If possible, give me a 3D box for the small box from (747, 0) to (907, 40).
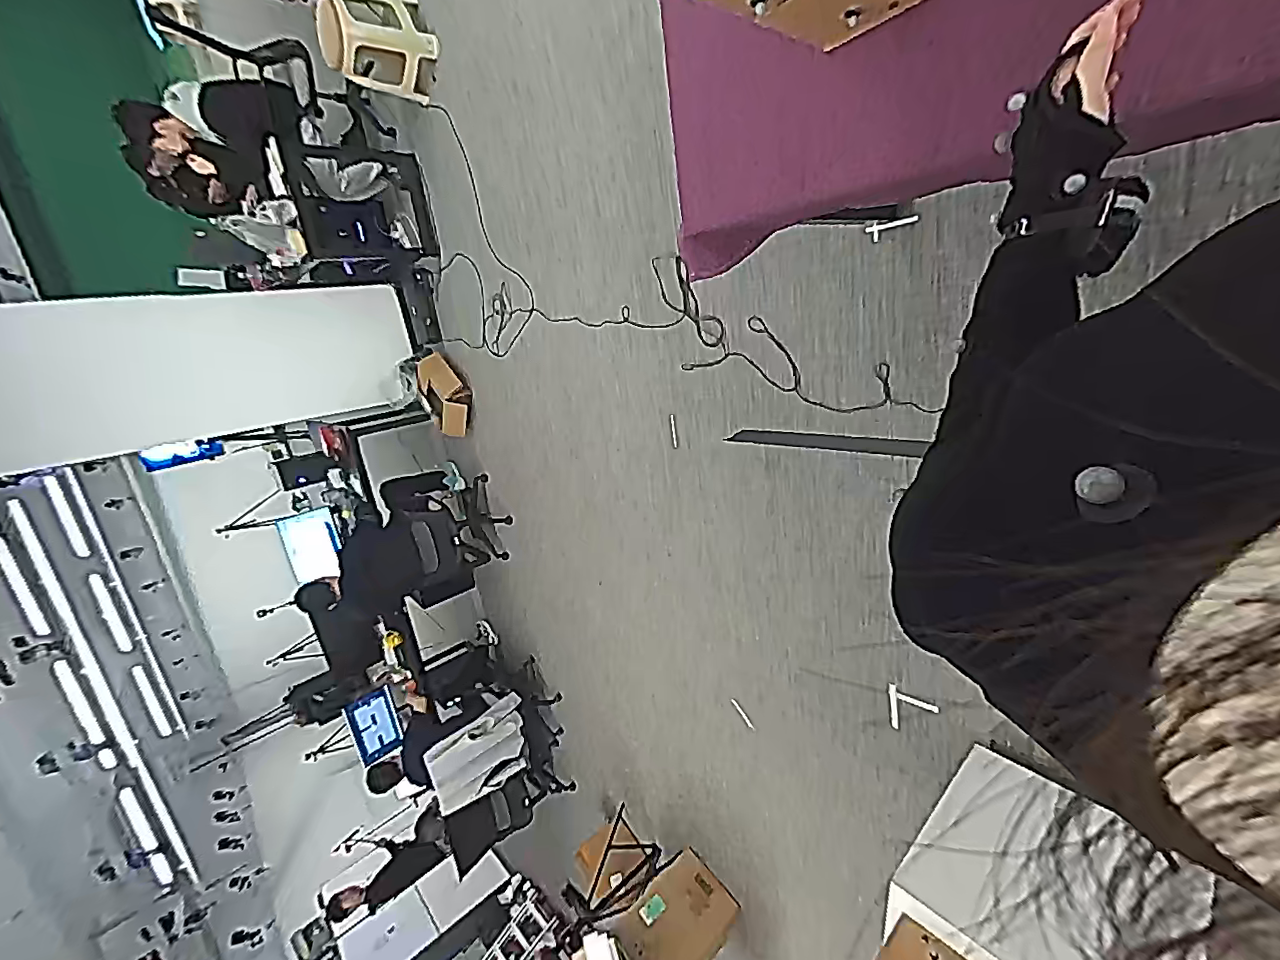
[{"bbox_3d":[0.228,-0.638,0.598,0.168,0.176,0.179,9,115,48],"label":"small box"}]
